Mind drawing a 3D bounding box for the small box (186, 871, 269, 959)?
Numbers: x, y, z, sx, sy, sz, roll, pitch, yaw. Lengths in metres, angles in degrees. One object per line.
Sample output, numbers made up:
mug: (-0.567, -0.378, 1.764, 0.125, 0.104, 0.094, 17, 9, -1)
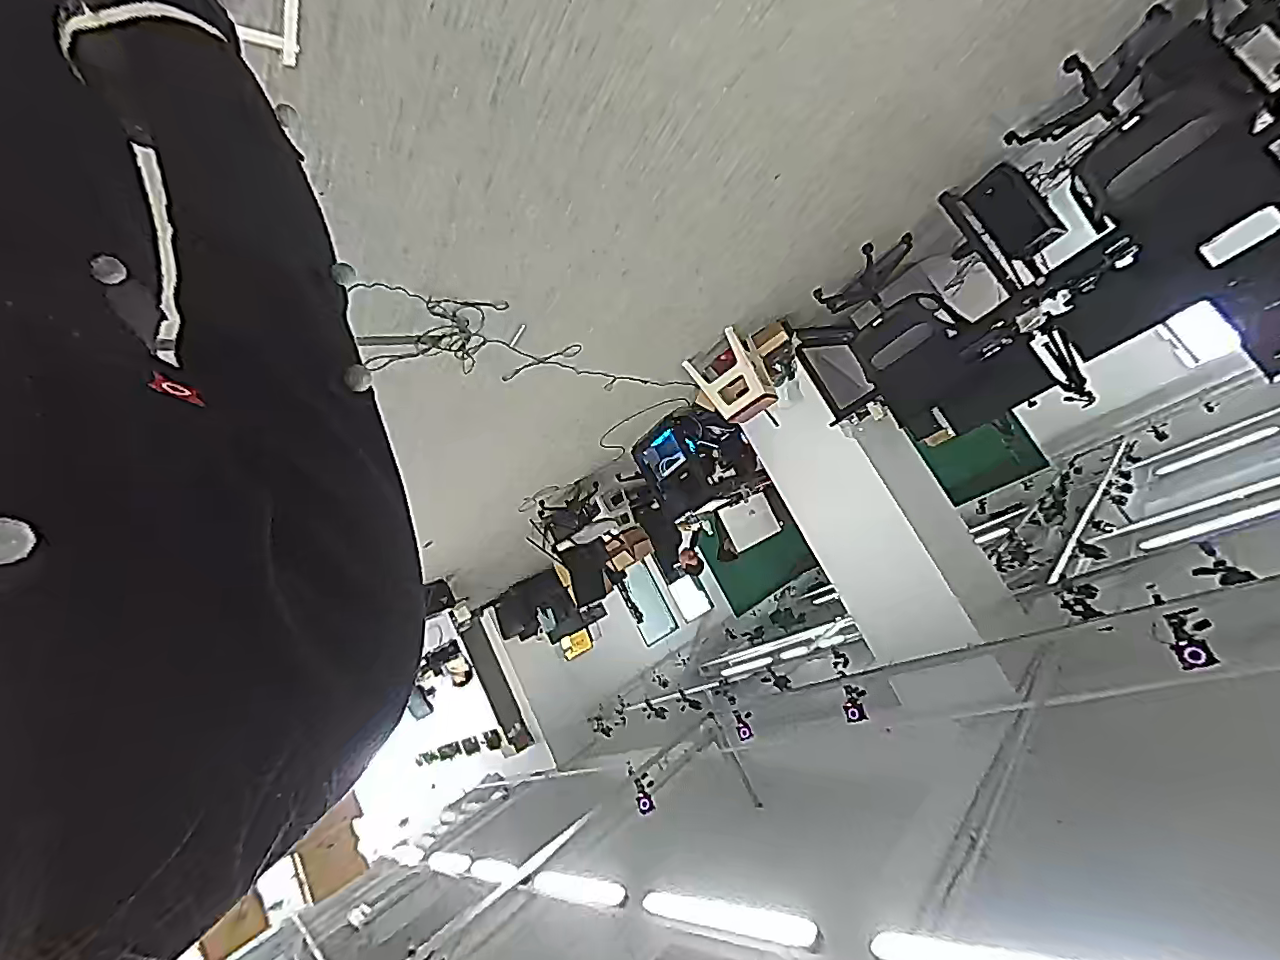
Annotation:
small box: (-1.274, 1.355, 1.673, 0.168, 0.176, 0.179, -20, 167, -41)
